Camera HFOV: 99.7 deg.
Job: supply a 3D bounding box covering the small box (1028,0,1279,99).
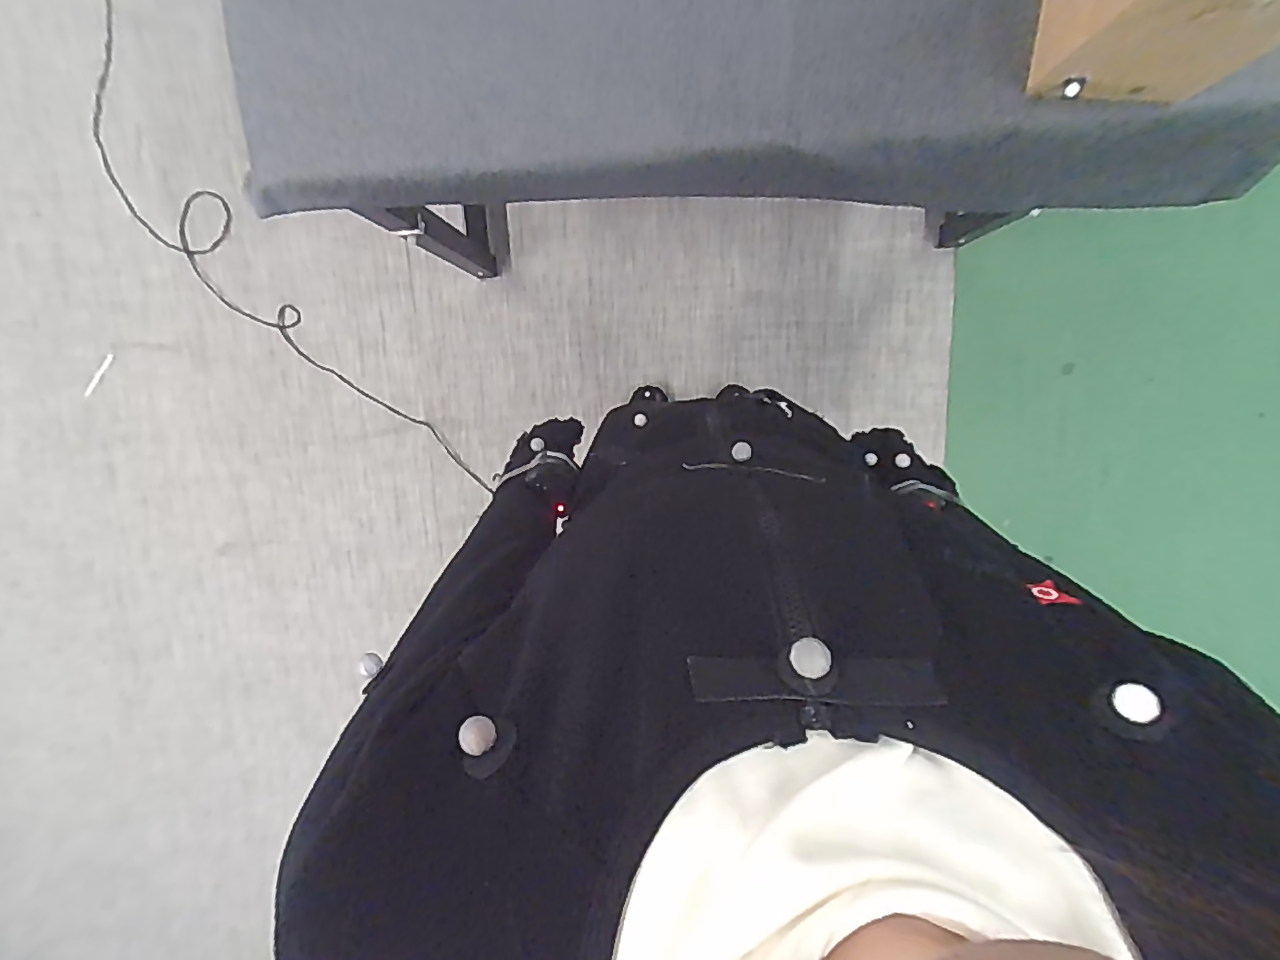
[{"bbox_3d":[0.507,-0.493,0.505,0.168,0.176,0.179,6,99,2],"label":"small box"}]
